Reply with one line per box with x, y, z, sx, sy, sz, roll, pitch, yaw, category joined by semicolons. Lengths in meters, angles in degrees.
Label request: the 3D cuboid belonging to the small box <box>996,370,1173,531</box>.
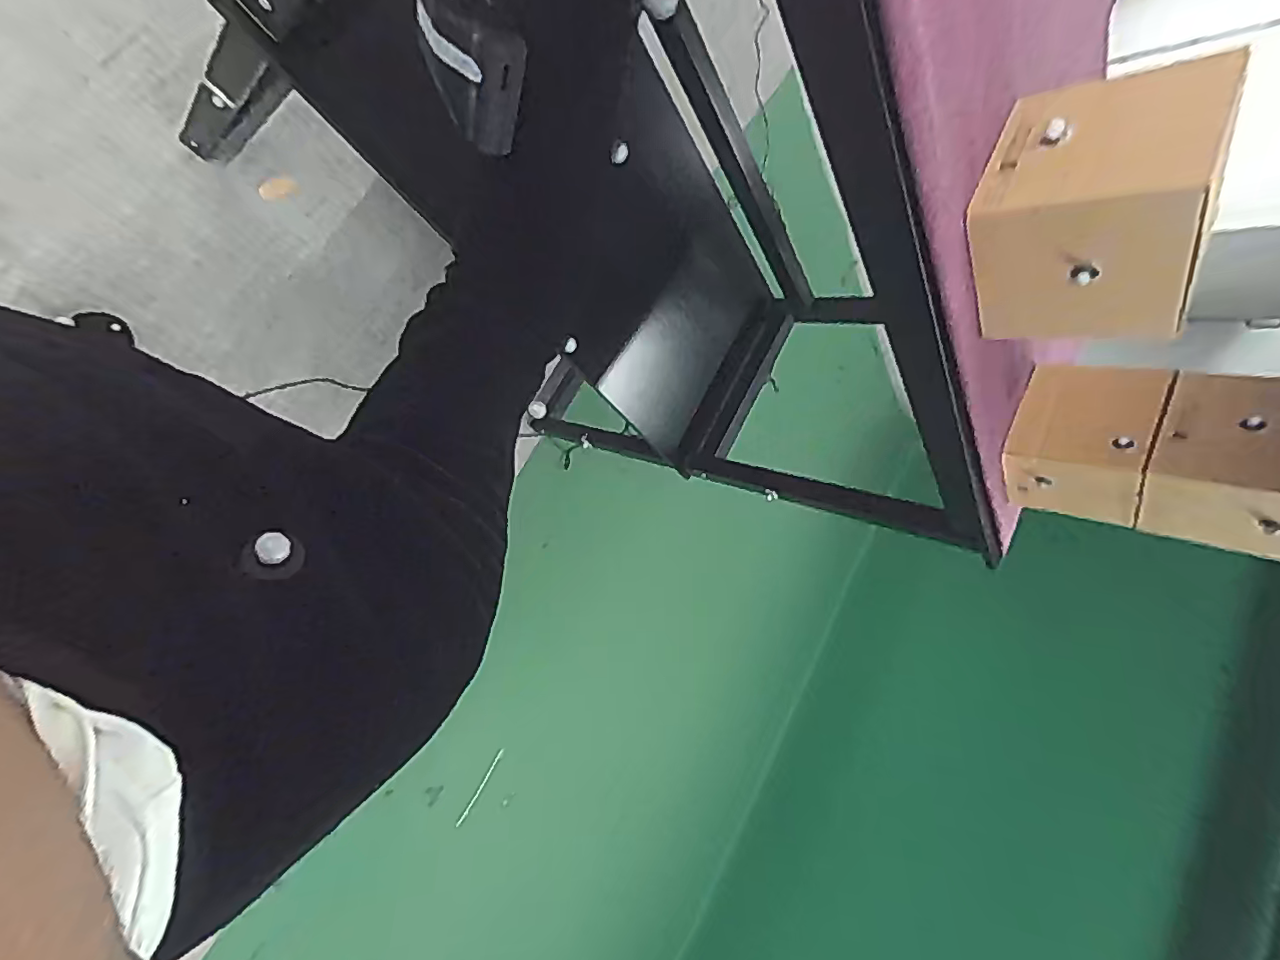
0.675;-0.052;0.836;0.168;0.176;0.179;43;72;-43;small box

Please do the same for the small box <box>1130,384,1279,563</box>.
0.781;-0.013;0.716;0.179;0.176;0.168;43;73;-43;small box

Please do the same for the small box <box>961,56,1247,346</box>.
0.442;-0.256;0.535;0.179;0.176;0.168;44;70;-42;small box
